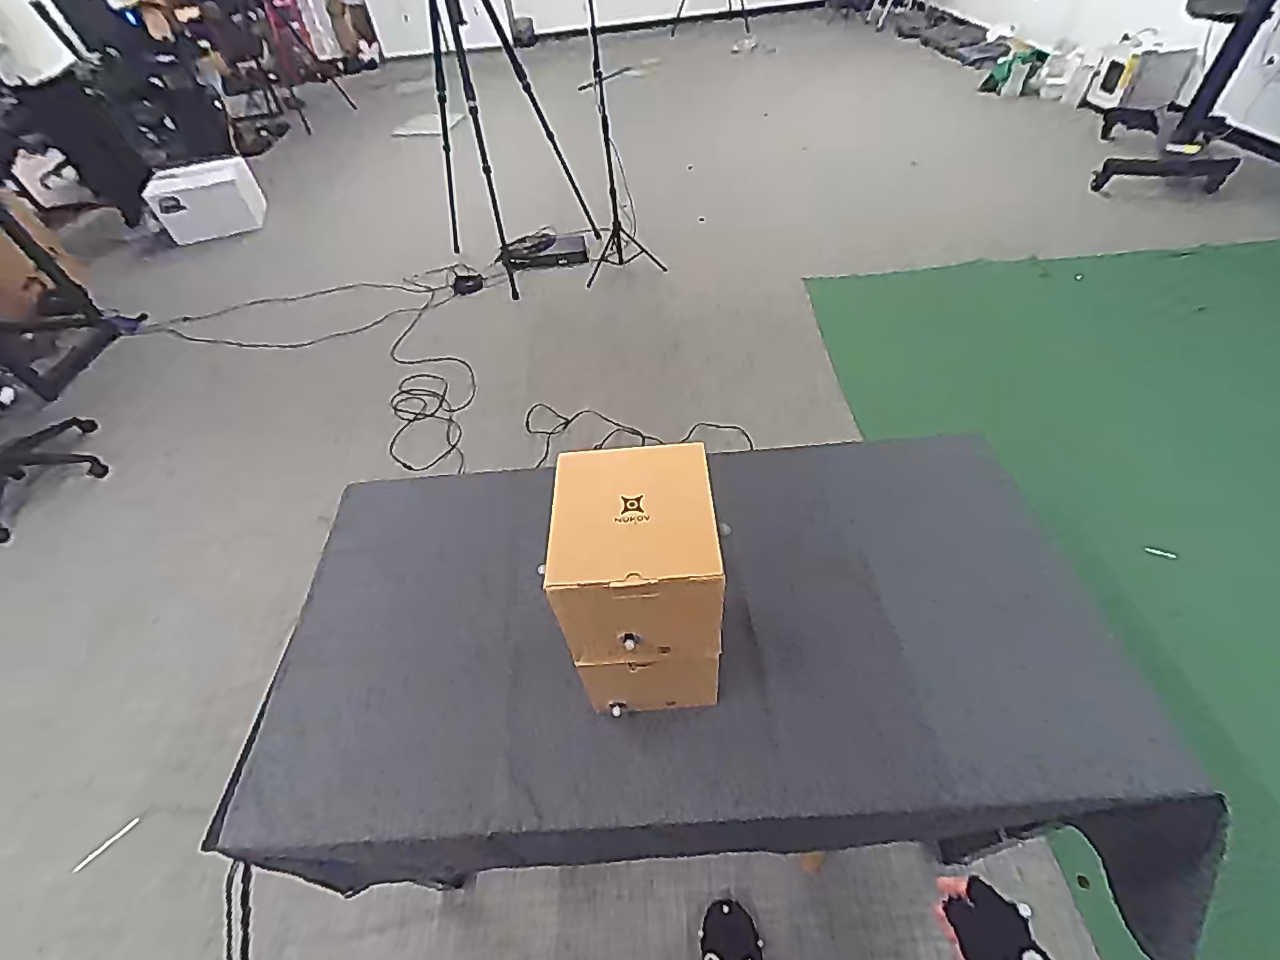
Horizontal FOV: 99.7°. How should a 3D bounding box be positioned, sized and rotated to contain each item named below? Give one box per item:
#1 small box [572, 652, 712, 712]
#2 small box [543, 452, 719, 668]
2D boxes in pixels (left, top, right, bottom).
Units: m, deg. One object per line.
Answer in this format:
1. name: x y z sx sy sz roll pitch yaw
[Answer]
1. small box: 0.007 0.200 0.731 0.168 0.176 0.179 -5 47 2
2. small box: -0.006 0.091 0.611 0.168 0.176 0.179 -5 48 2
